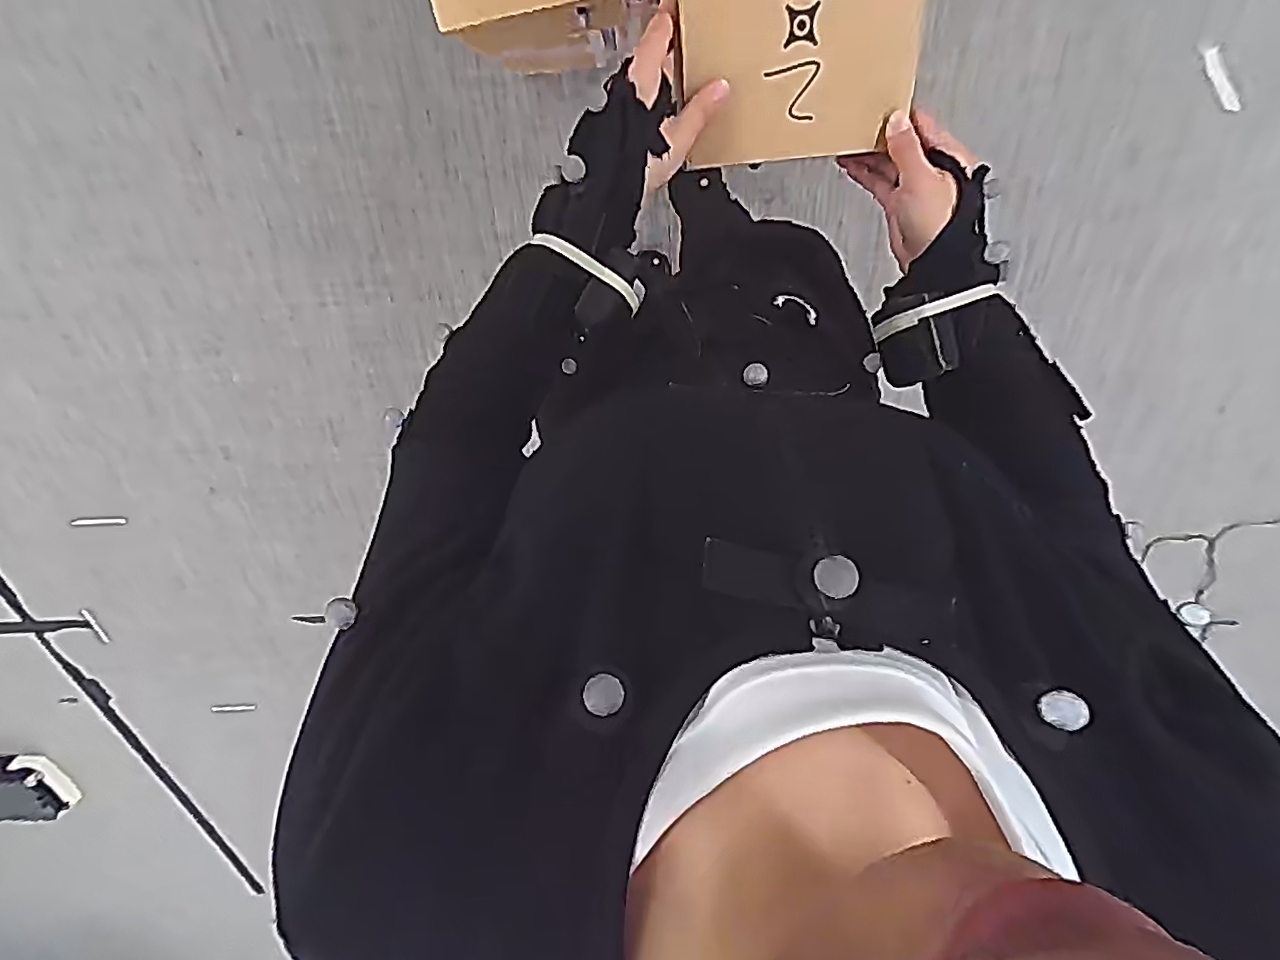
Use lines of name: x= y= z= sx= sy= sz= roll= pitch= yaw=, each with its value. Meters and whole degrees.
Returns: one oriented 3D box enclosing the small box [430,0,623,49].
small box: x=-0.116 y=-0.541 z=0.520 sx=0.179 sy=0.176 sz=0.168 roll=-9 pitch=123 yaw=5
